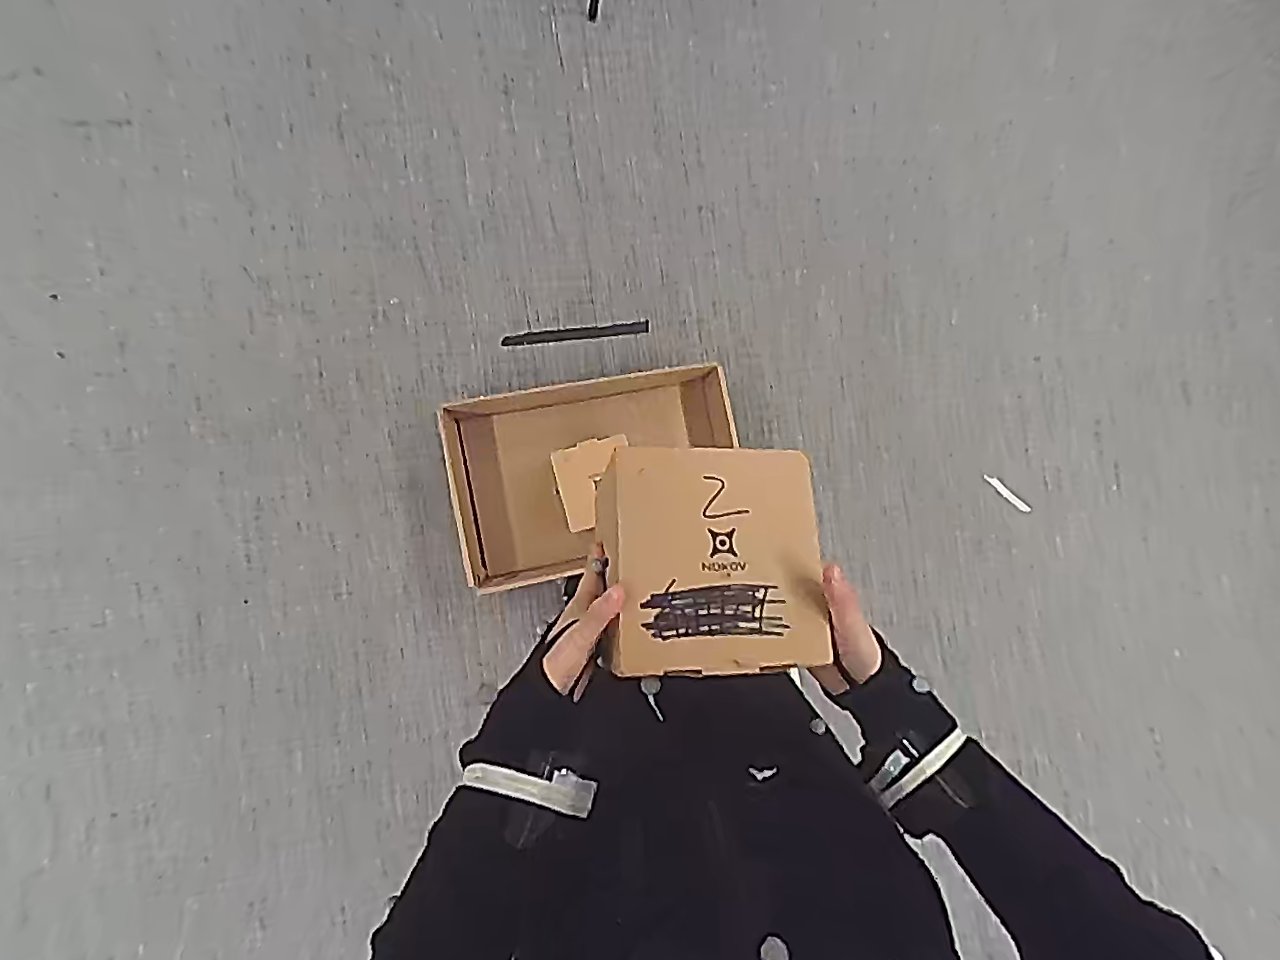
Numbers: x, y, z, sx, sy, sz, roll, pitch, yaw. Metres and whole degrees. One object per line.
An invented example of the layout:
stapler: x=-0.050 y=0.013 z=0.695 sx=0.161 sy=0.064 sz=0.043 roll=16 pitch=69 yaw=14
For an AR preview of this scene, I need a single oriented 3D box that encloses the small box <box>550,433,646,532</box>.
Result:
small box: x=-0.099 y=0.010 z=1.200 sx=0.168 sy=0.176 sz=0.179 roll=-16 pitch=90 yaw=-9
